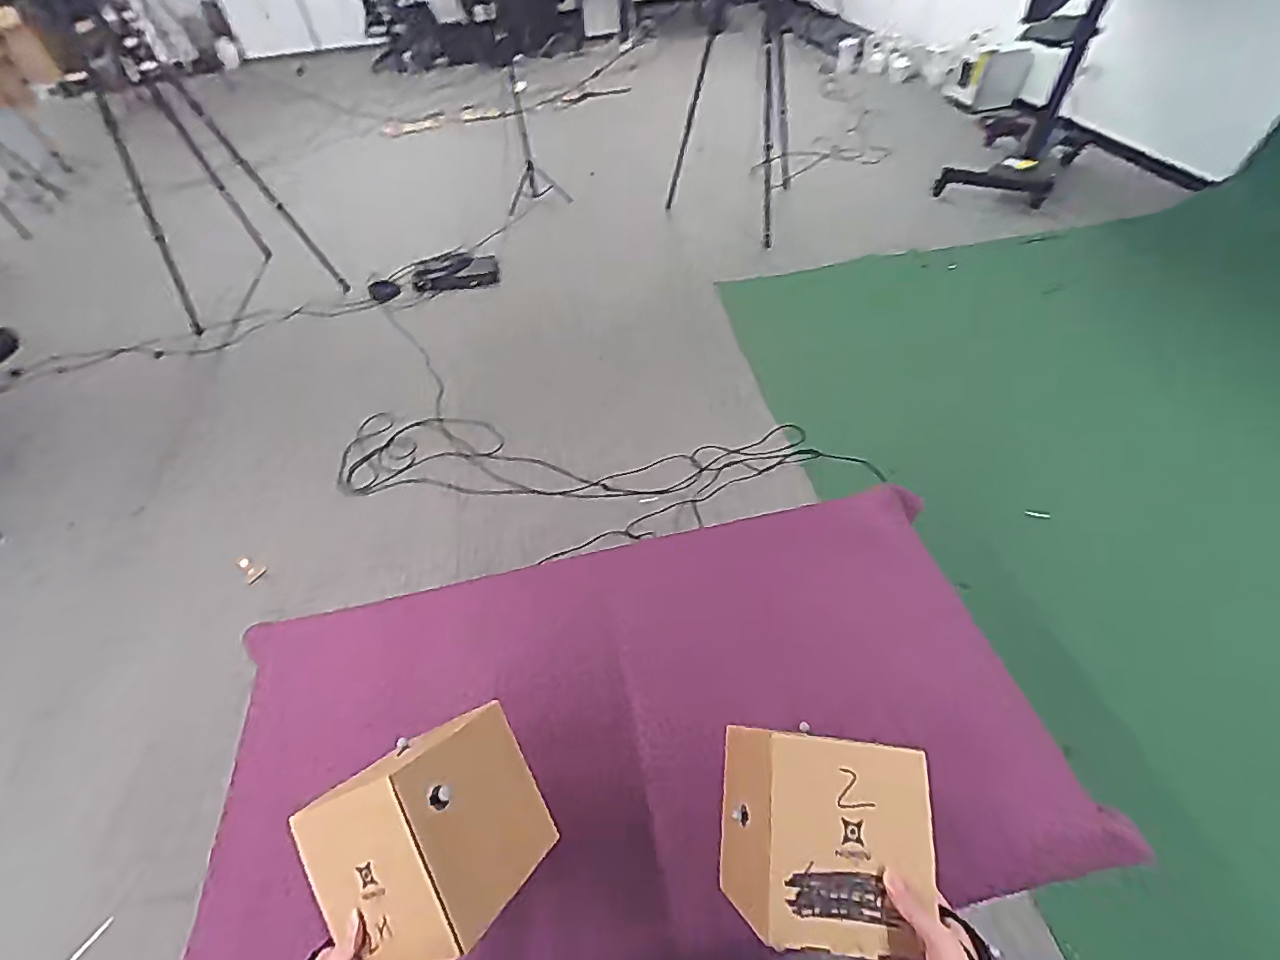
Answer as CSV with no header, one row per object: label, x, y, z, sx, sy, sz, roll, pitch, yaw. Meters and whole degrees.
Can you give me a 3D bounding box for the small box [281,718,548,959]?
small box,-0.233,0.383,0.584,0.168,0.176,0.179,-30,81,21
